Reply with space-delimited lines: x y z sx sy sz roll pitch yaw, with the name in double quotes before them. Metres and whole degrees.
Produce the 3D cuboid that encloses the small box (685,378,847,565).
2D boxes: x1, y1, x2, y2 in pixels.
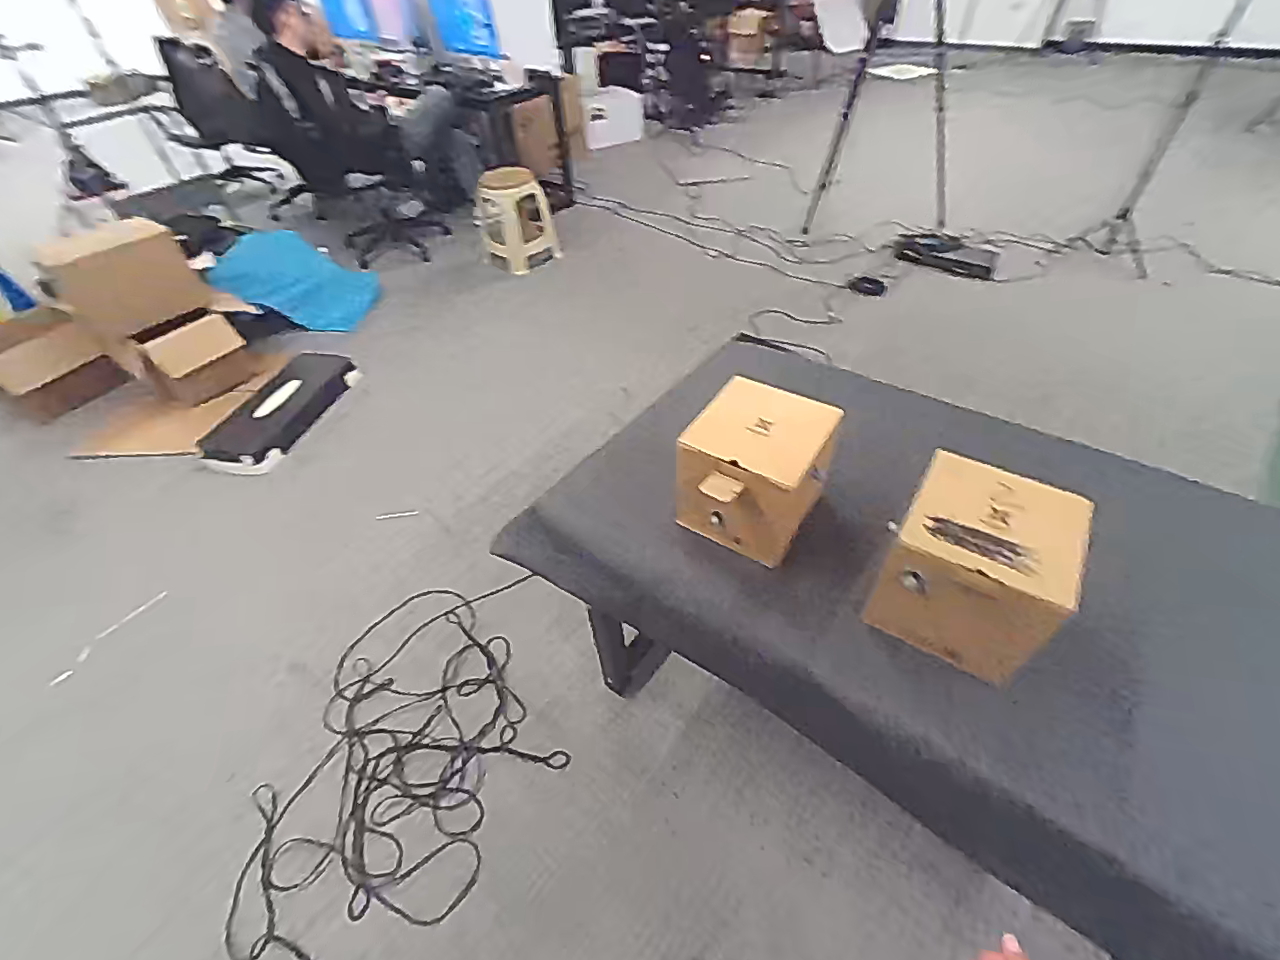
"small box" 0.172 -0.013 0.782 0.168 0.176 0.179 24 52 25
